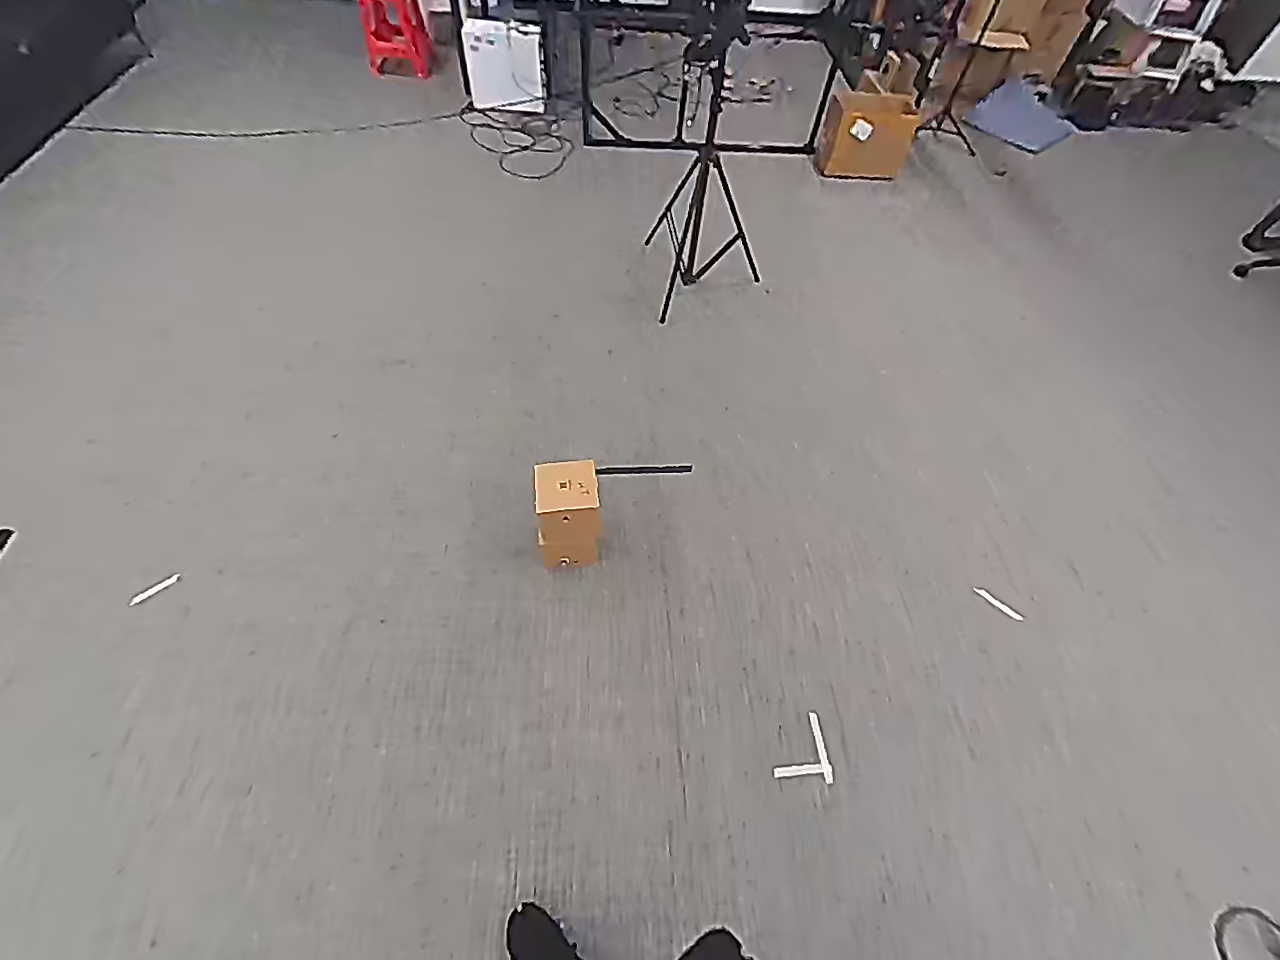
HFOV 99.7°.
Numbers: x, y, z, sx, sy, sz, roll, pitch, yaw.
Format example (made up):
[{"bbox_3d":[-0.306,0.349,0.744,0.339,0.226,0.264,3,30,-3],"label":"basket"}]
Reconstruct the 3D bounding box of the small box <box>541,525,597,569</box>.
[{"bbox_3d":[-0.223,0.164,1.709,0.168,0.176,0.179,-4,56,-6],"label":"small box"}]

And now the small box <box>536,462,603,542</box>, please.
[{"bbox_3d":[-0.203,0.068,1.577,0.179,0.176,0.168,-5,56,-6],"label":"small box"}]
